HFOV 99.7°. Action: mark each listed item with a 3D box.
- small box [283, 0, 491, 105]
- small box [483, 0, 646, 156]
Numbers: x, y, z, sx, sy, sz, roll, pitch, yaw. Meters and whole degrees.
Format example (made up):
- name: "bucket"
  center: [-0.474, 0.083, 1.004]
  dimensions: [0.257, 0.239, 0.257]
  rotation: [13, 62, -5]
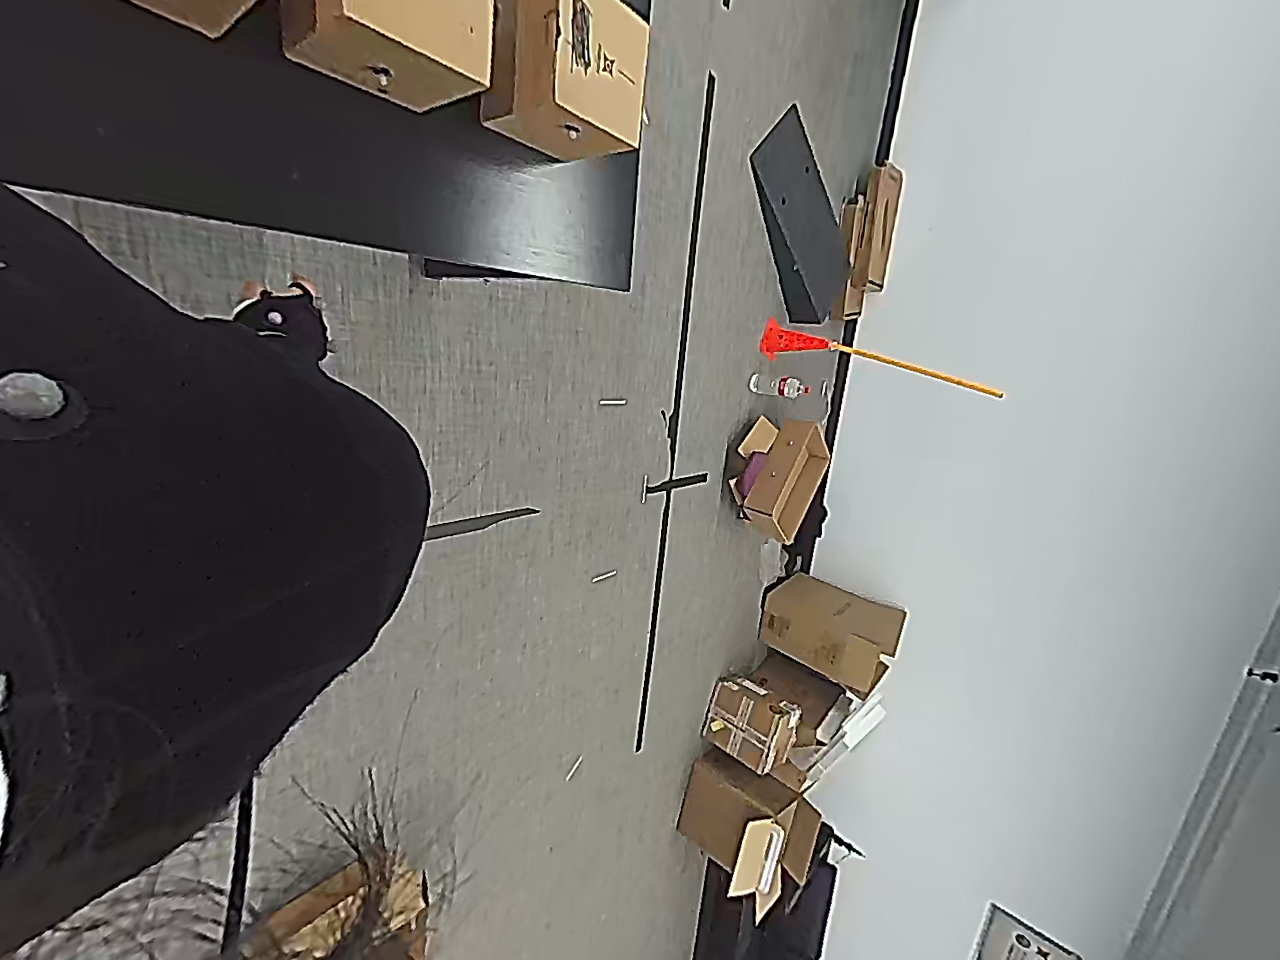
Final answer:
- name: "small box"
  center: [-0.287, -0.563, 0.614]
  dimensions: [0.168, 0.176, 0.179]
  rotation: [-10, 111, -49]
- name: "small box"
  center: [-0.116, -0.607, 0.806]
  dimensions: [0.179, 0.176, 0.168]
  rotation: [-10, 111, -49]
